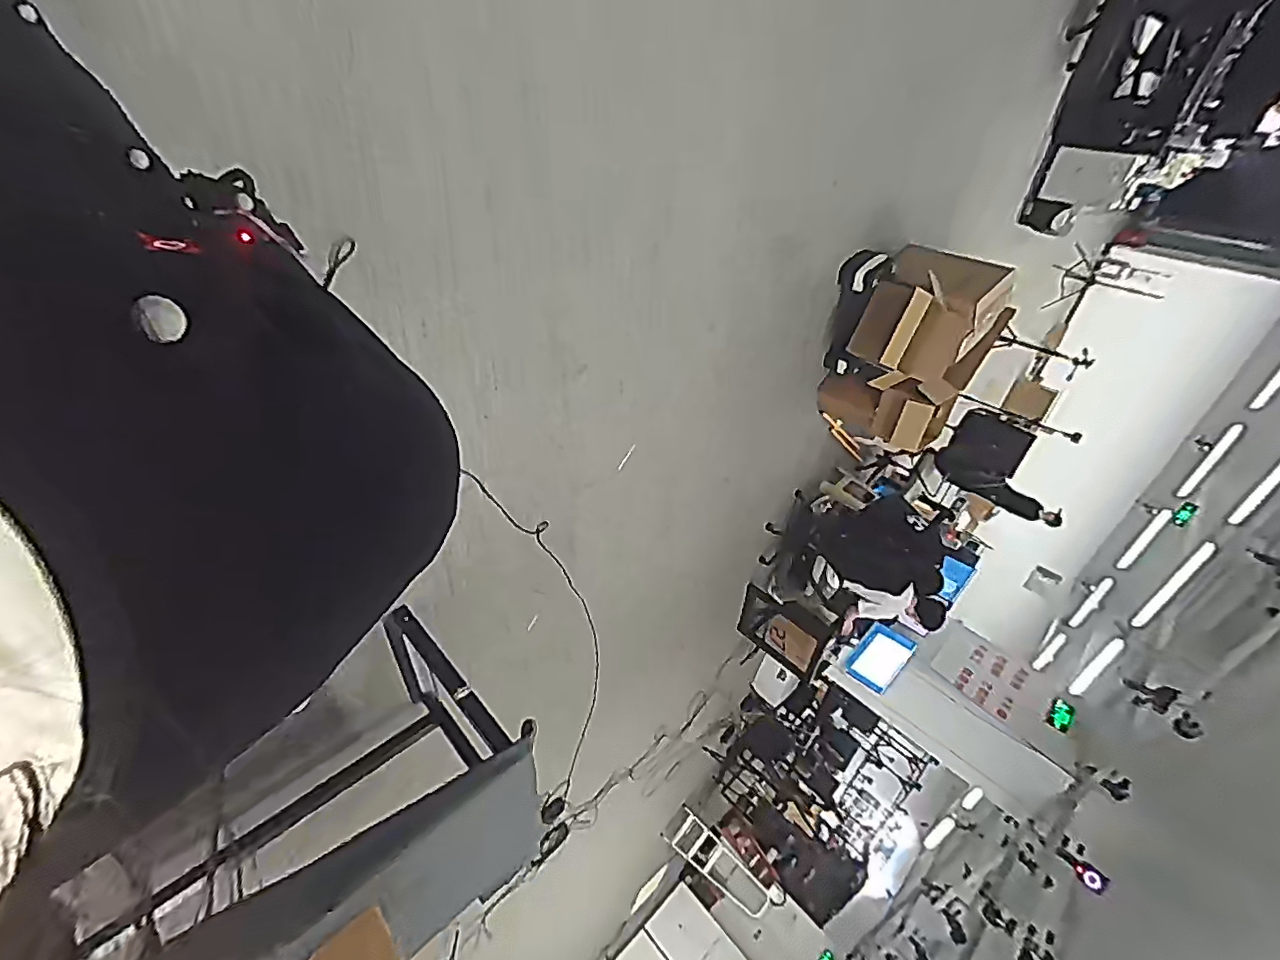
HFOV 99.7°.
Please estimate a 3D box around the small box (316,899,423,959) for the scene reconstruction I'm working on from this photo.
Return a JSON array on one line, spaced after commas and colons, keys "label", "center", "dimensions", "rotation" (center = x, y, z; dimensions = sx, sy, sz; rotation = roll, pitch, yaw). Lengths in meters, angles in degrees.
[{"label": "small box", "center": [-0.623, 1.145, 1.269], "dimensions": [0.179, 0.176, 0.168], "rotation": [-25, 135, -35]}]
